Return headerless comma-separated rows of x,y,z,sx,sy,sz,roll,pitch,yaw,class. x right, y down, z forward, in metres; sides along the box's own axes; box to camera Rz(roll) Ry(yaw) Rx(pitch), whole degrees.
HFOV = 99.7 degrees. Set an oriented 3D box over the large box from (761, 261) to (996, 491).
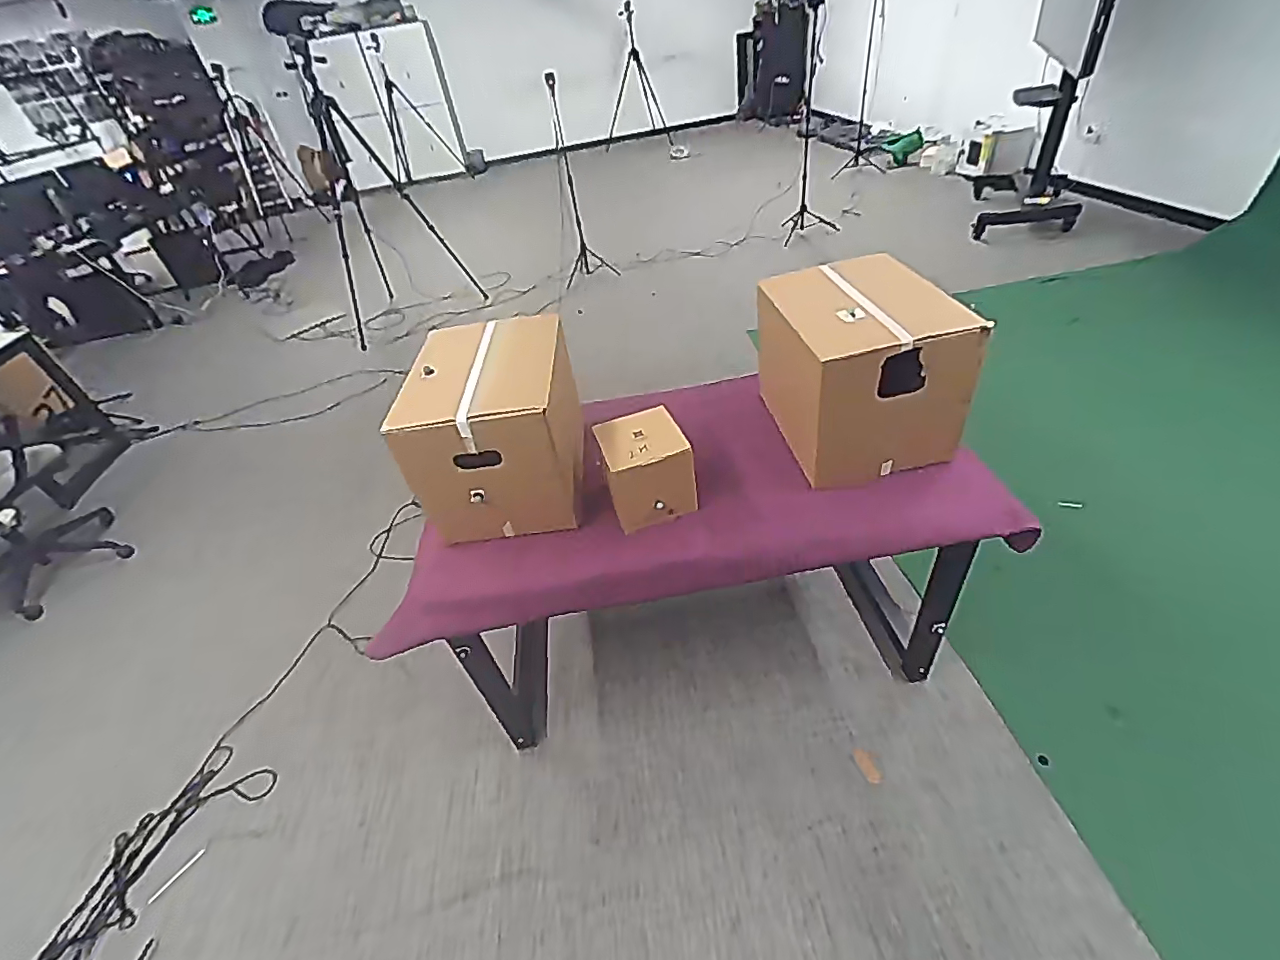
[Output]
0.478,-0.240,1.199,0.320,0.320,0.408,-12,41,1,large box
